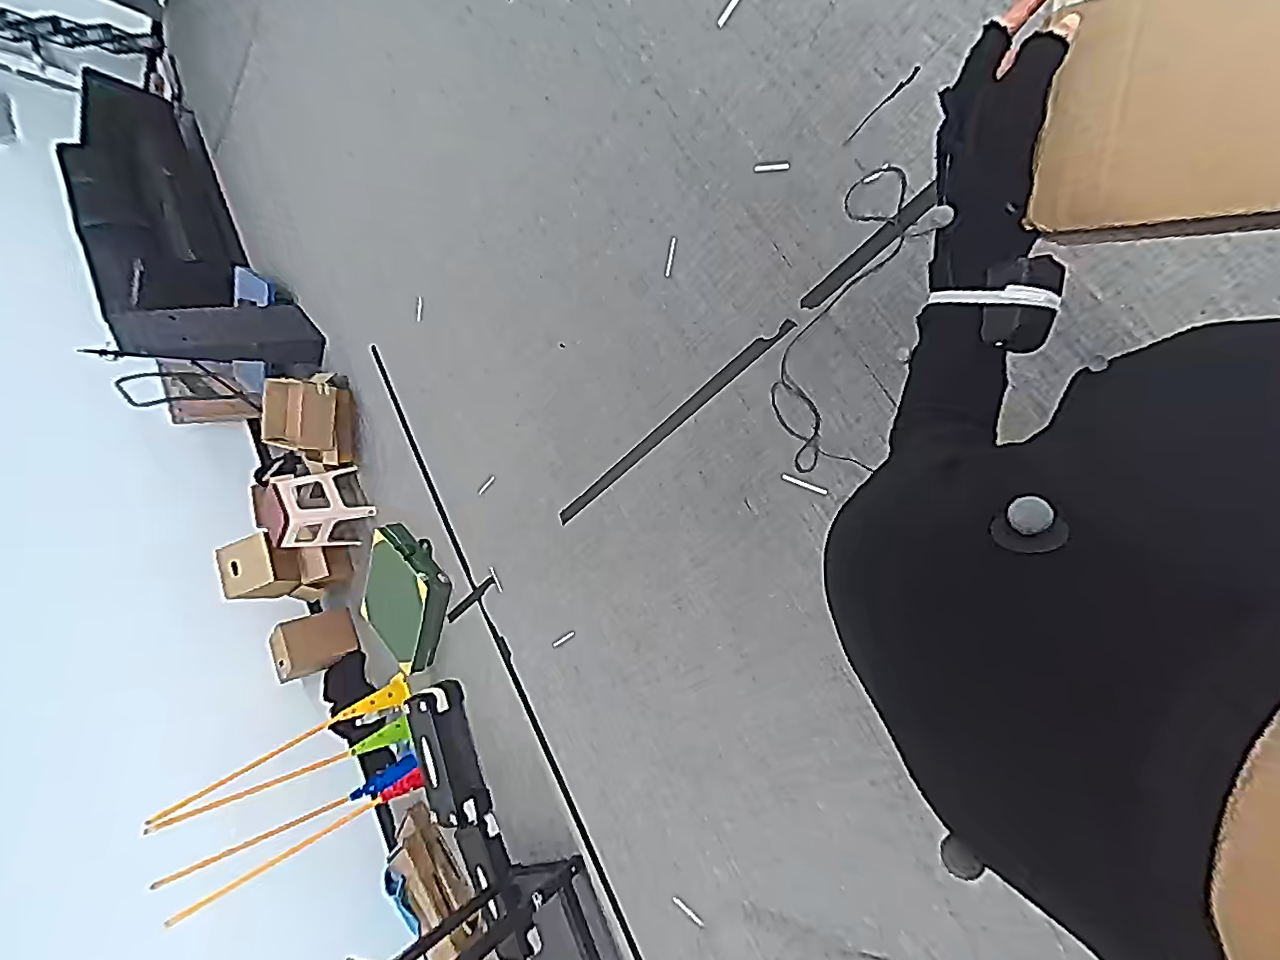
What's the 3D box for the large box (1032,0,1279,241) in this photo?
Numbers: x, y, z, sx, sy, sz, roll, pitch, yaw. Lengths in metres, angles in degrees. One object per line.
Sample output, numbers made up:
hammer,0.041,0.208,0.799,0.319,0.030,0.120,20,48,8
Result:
large box,0.549,-0.362,0.376,0.408,0.320,0.320,11,115,38
